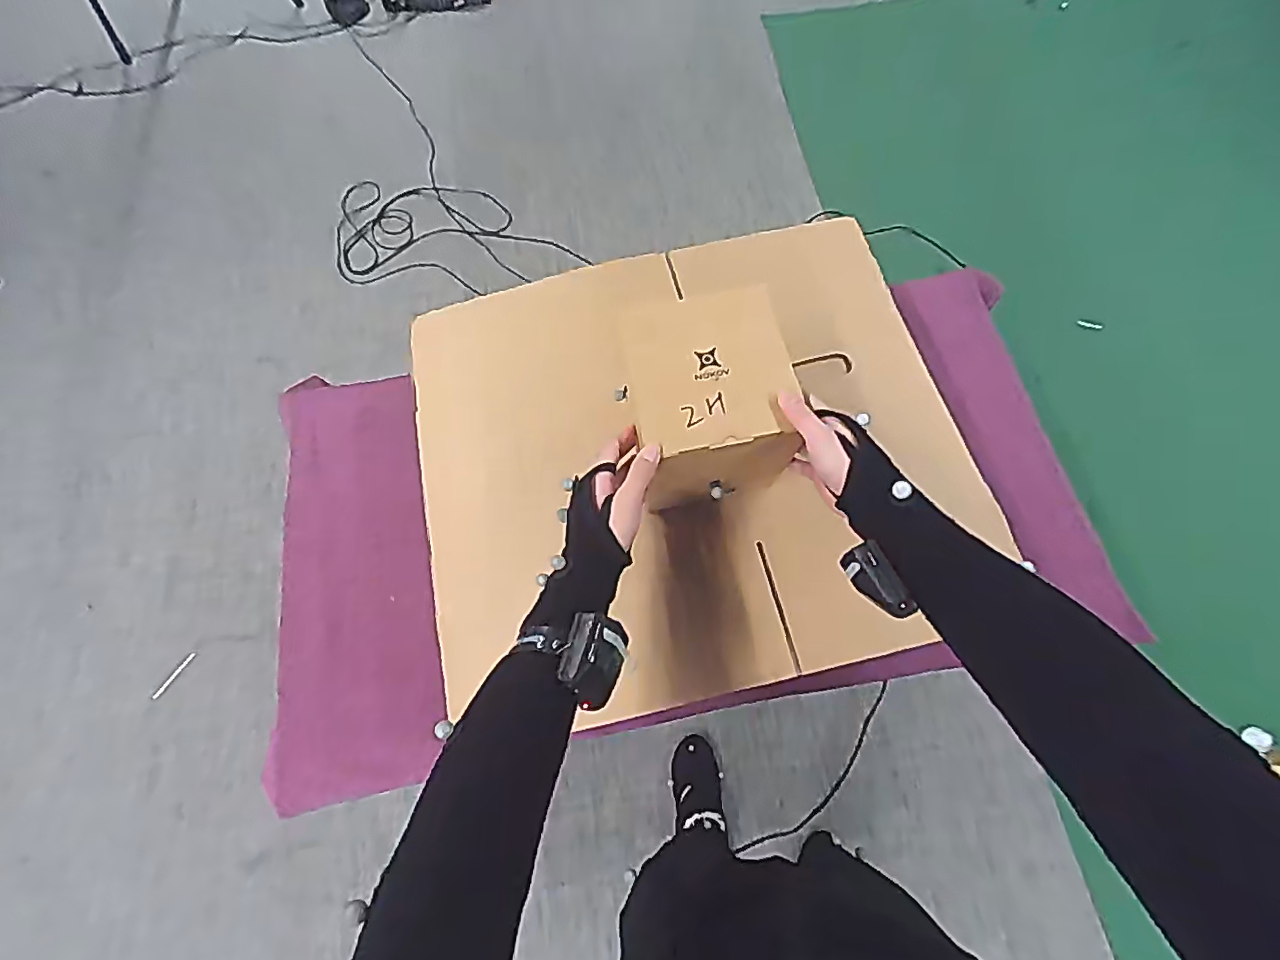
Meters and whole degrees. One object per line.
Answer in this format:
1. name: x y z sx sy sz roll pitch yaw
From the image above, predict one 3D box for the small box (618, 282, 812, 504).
1. small box: 0.069 -0.090 0.613 0.168 0.176 0.179 -11 70 -4
